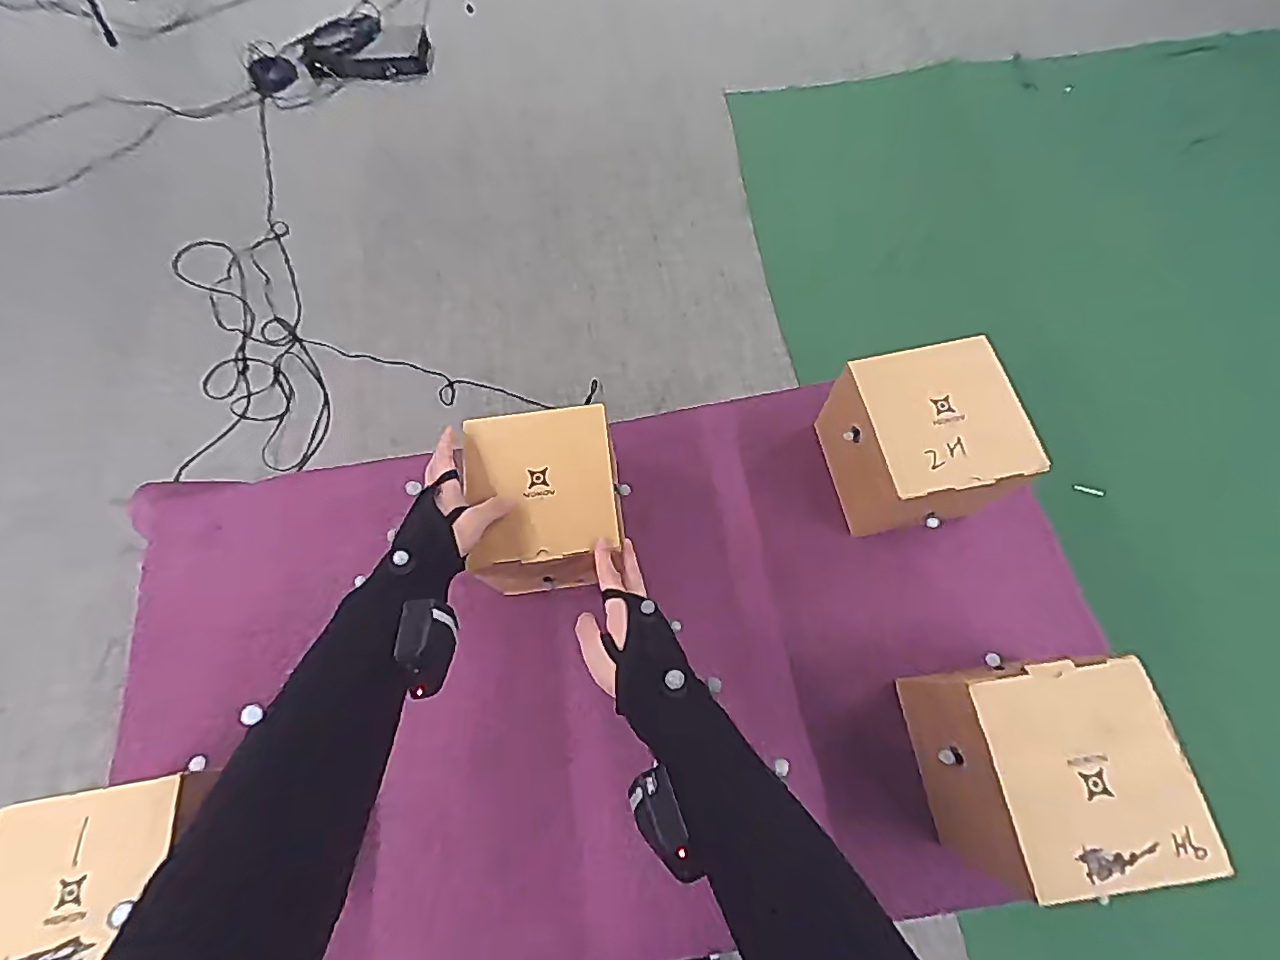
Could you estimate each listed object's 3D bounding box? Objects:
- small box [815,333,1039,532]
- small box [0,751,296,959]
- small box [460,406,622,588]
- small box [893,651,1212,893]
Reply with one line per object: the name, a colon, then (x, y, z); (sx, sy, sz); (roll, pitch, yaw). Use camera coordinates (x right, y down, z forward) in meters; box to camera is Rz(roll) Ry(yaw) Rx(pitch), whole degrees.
small box: (0.333, -0.050, 0.673); (0.168, 0.176, 0.179); (-11, 70, 2)
small box: (-0.492, 0.396, 0.561); (0.168, 0.176, 0.179); (-9, 67, 0)
small box: (-0.116, 0.029, 0.677); (0.168, 0.176, 0.179); (-8, 71, 0)
small box: (0.385, 0.279, 0.550); (0.168, 0.176, 0.179); (-9, 70, 2)
